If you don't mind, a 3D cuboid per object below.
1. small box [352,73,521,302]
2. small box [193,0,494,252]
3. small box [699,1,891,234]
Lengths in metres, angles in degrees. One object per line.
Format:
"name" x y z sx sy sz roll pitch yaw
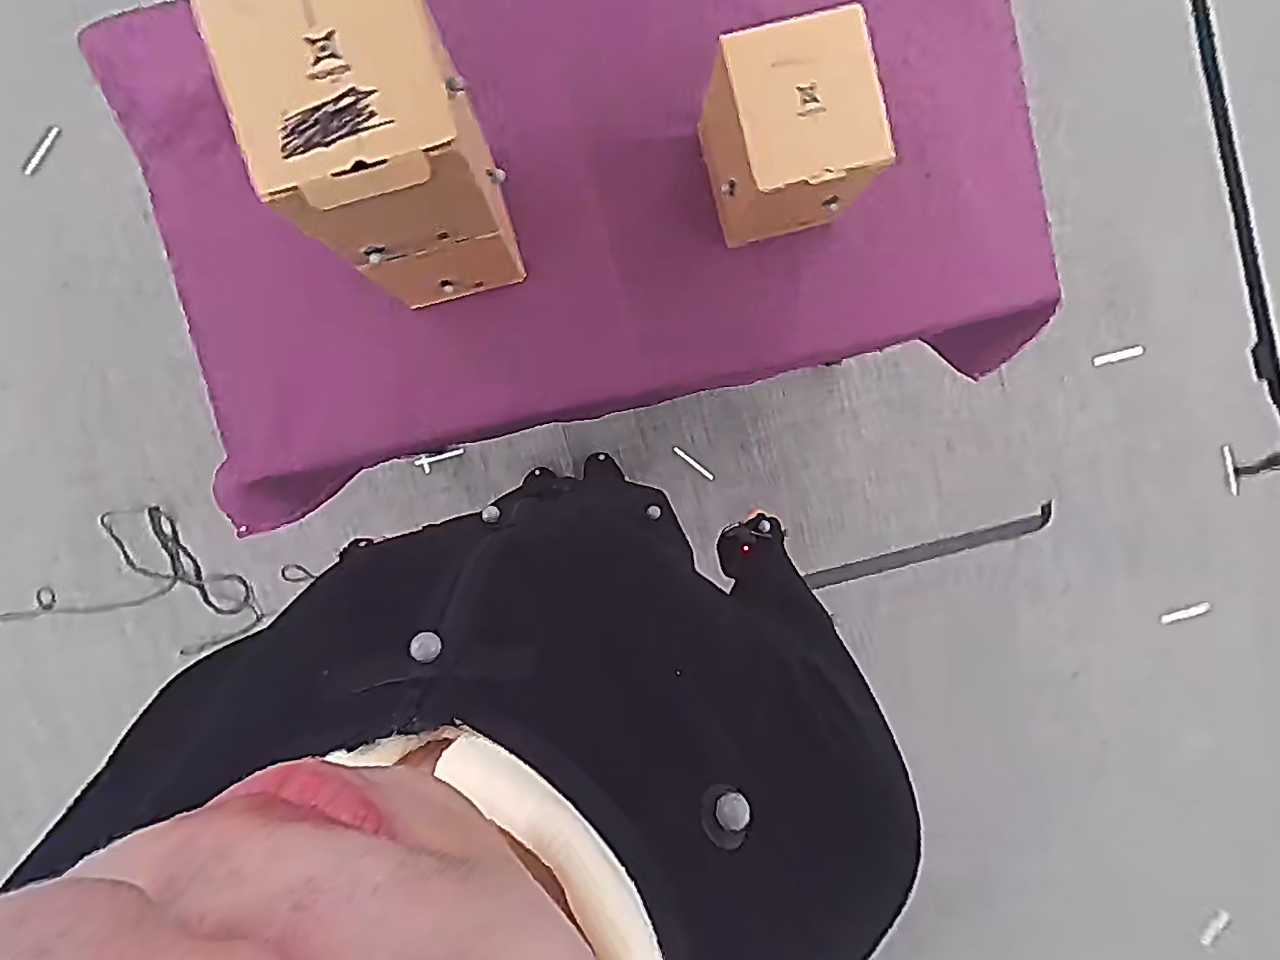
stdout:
"small box" -0.258 -0.342 0.665 0.168 0.176 0.179 -16 95 -2
"small box" -0.250 -0.332 0.501 0.168 0.176 0.179 -17 94 -2
"small box" 0.182 -0.432 0.681 0.168 0.176 0.179 -15 94 -2
